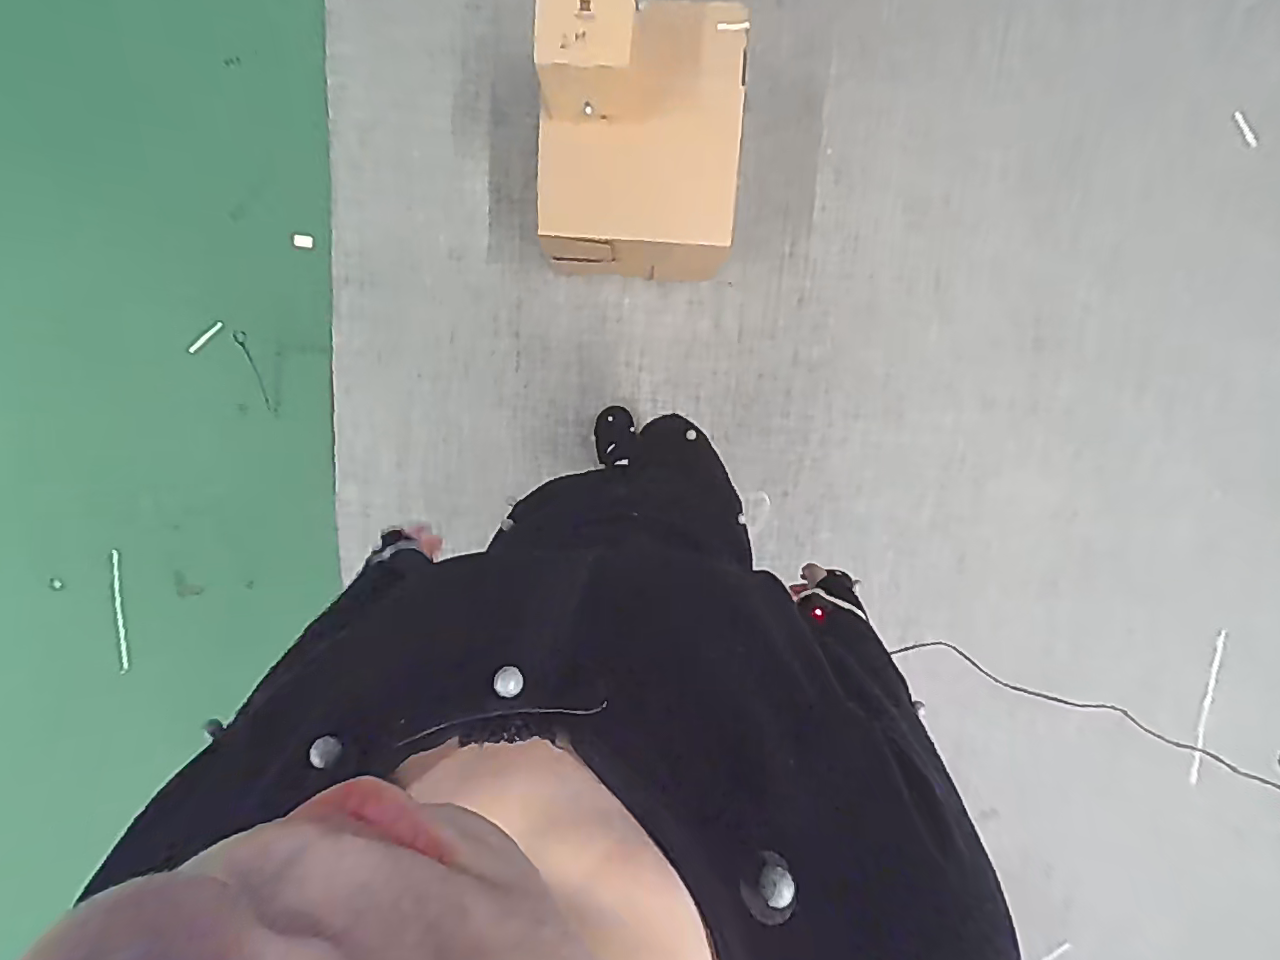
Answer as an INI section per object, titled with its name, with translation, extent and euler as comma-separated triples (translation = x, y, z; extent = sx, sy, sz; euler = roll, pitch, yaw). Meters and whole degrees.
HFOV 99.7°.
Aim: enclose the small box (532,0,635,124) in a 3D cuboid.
[small box]
translation = -0.096, -0.793, 0.988
extent = 0.168, 0.176, 0.179
euler = 4, 95, 1
